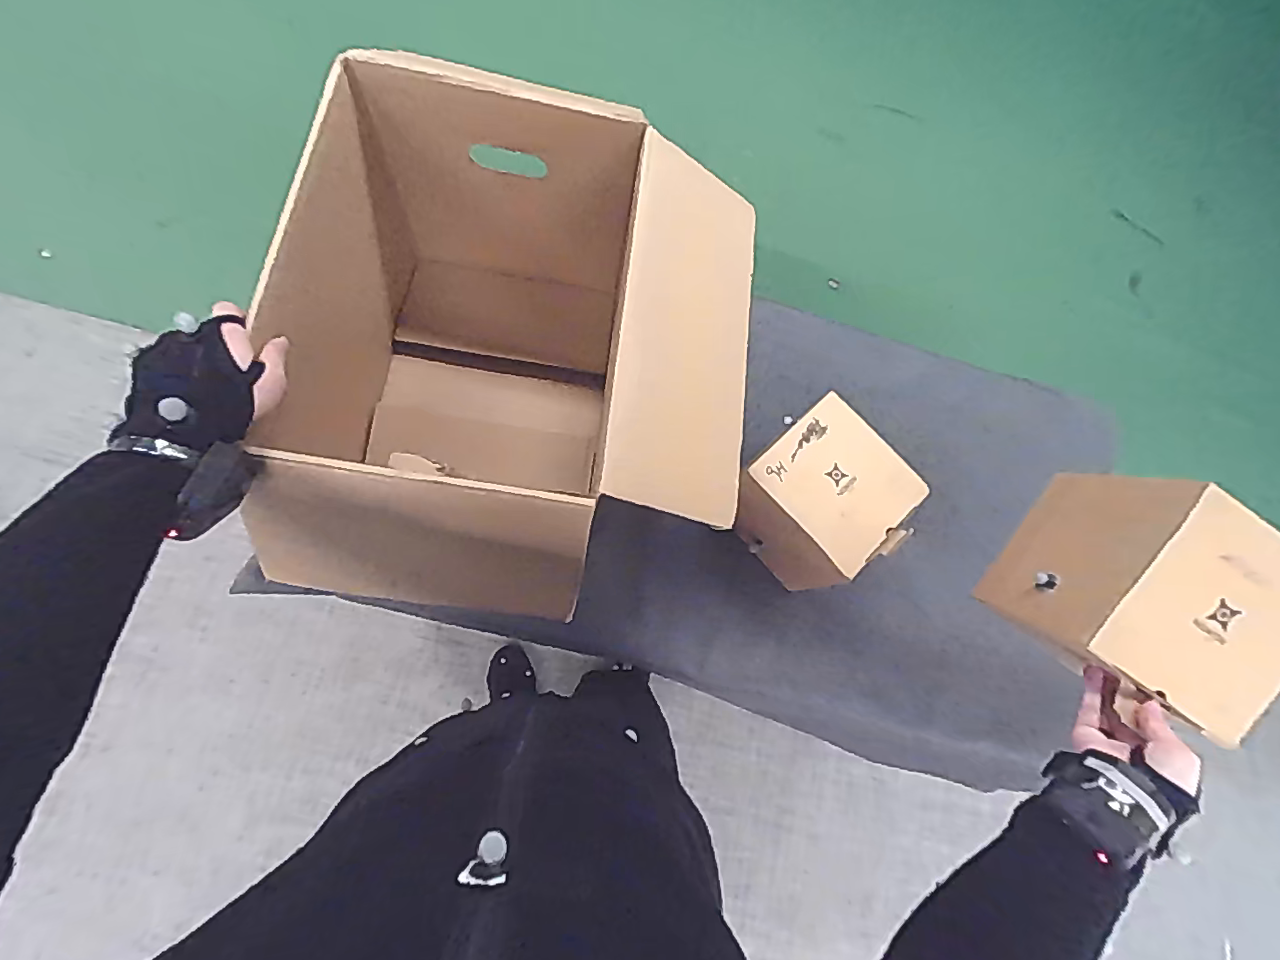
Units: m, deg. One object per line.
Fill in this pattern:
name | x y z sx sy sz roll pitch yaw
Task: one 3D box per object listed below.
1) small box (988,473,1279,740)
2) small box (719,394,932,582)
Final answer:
small box | 0.499 0.108 0.545 0.168 0.176 0.179 35 92 -3
small box | 0.237 0.021 0.733 0.168 0.176 0.179 -40 85 -14
